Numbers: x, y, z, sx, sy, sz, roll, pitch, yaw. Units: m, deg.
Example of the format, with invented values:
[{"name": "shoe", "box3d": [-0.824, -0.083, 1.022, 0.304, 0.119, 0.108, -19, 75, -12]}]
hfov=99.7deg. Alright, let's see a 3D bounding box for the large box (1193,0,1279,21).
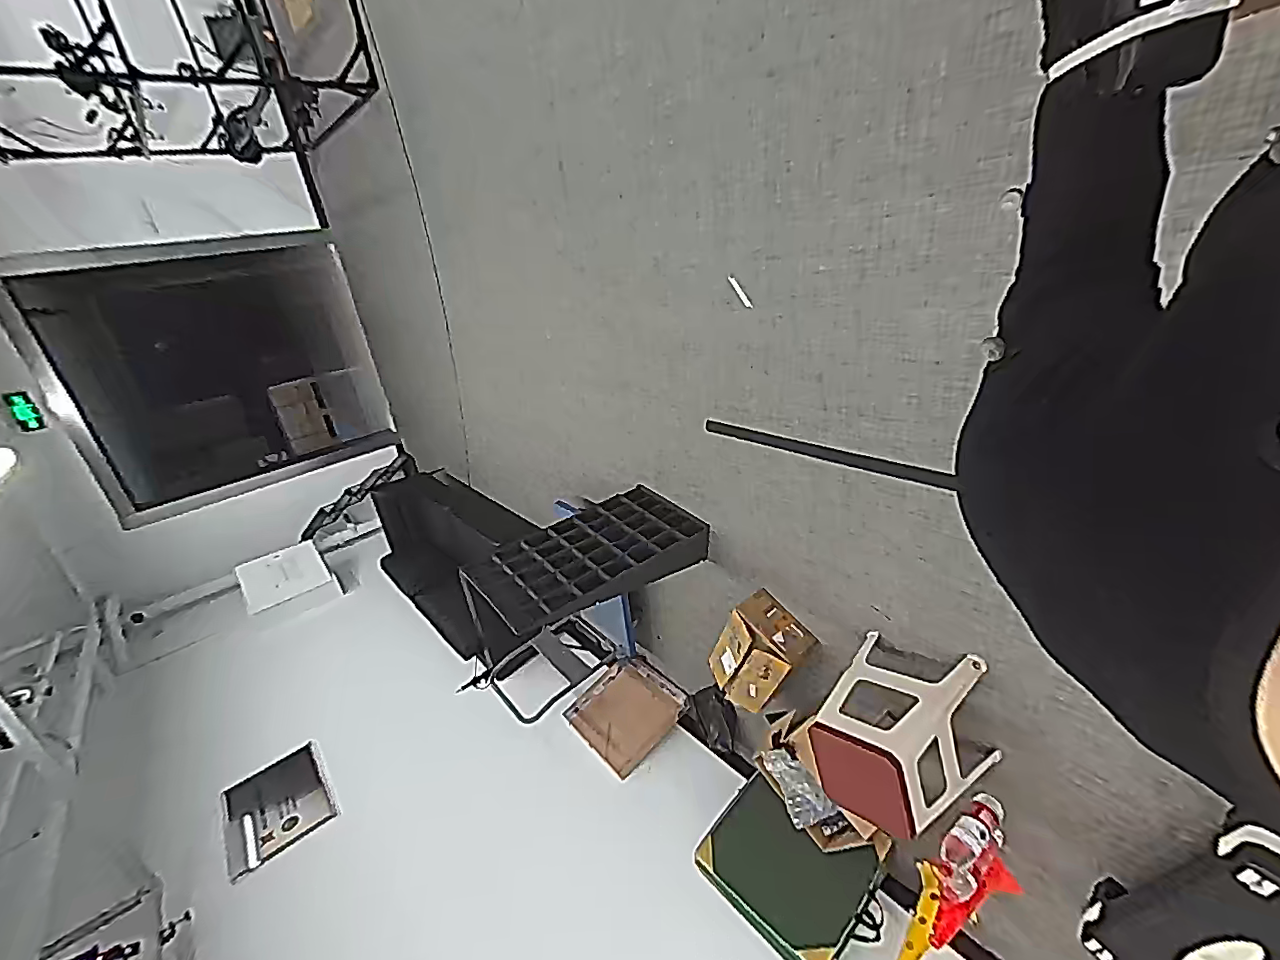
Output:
[{"name": "large box", "box3d": [0.529, -0.501, 0.236, 0.408, 0.320, 0.320, 8, 119, 48]}]
